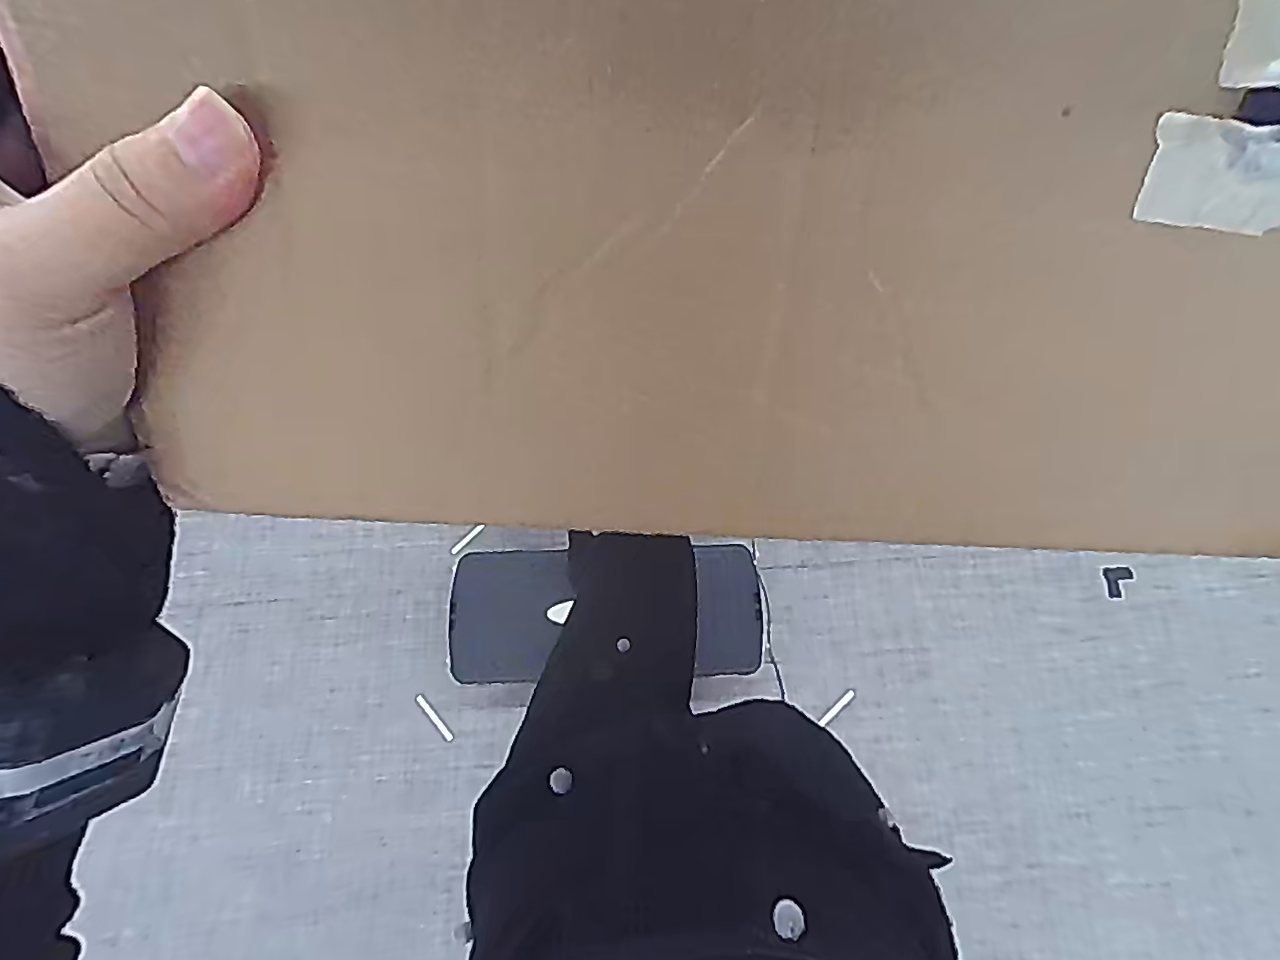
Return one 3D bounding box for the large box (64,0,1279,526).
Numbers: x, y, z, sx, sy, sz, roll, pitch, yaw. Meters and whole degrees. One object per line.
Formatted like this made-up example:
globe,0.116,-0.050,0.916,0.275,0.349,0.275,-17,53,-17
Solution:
large box,0.070,-0.185,0.252,0.408,0.320,0.320,2,114,-3
